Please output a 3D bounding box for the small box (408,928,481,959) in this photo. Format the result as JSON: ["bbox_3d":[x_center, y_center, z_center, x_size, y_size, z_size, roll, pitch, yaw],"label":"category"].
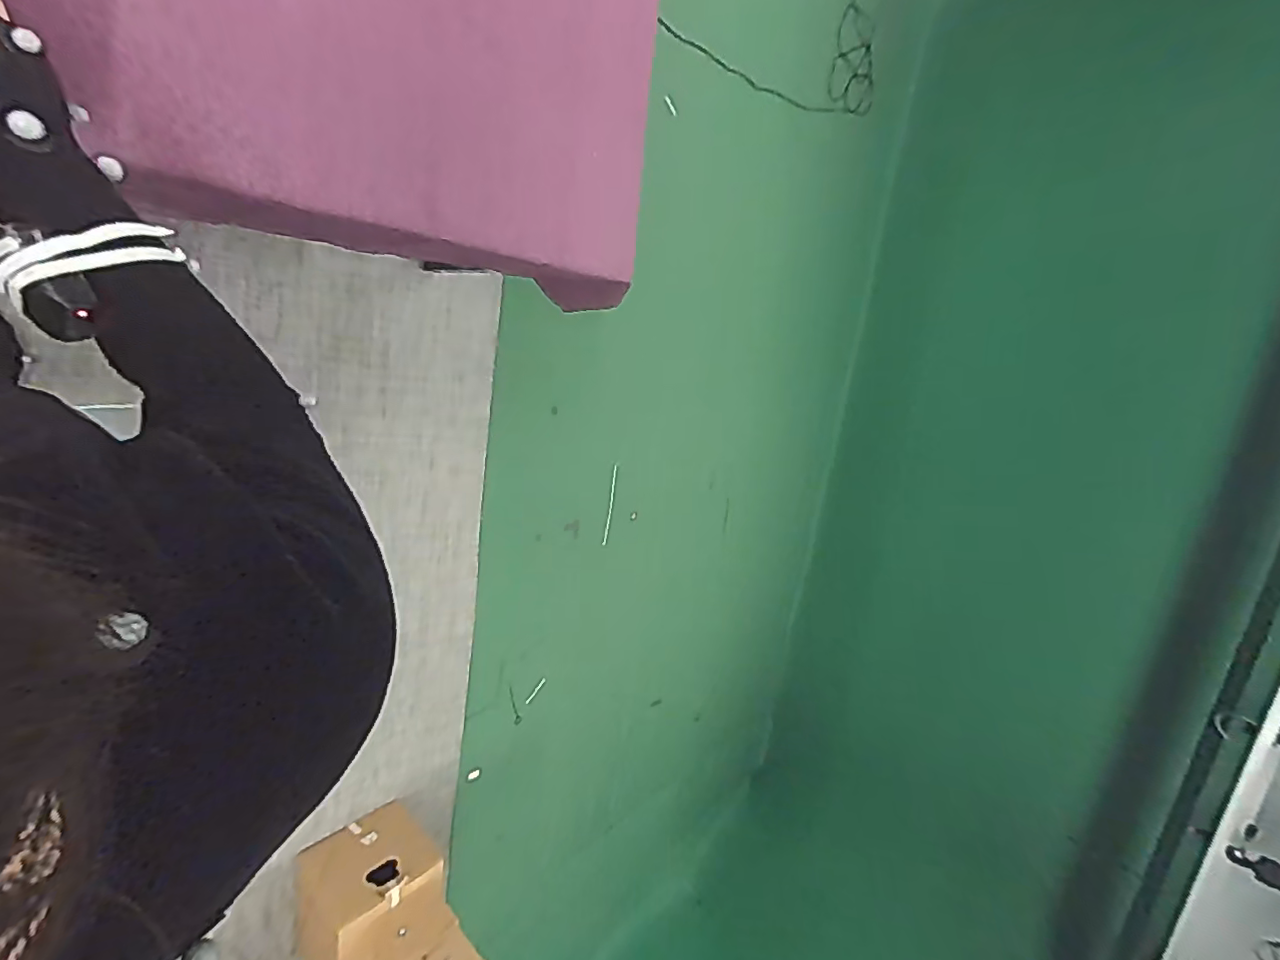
[{"bbox_3d":[-0.539,1.377,1.464,0.168,0.176,0.179,-15,117,-47],"label":"small box"}]

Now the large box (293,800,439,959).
[{"bbox_3d":[-0.867,1.339,1.711,0.320,0.320,0.408,-8,111,-50],"label":"large box"}]

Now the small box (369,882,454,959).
[{"bbox_3d":[-0.662,1.330,1.561,0.179,0.176,0.168,-10,113,-50],"label":"small box"}]
